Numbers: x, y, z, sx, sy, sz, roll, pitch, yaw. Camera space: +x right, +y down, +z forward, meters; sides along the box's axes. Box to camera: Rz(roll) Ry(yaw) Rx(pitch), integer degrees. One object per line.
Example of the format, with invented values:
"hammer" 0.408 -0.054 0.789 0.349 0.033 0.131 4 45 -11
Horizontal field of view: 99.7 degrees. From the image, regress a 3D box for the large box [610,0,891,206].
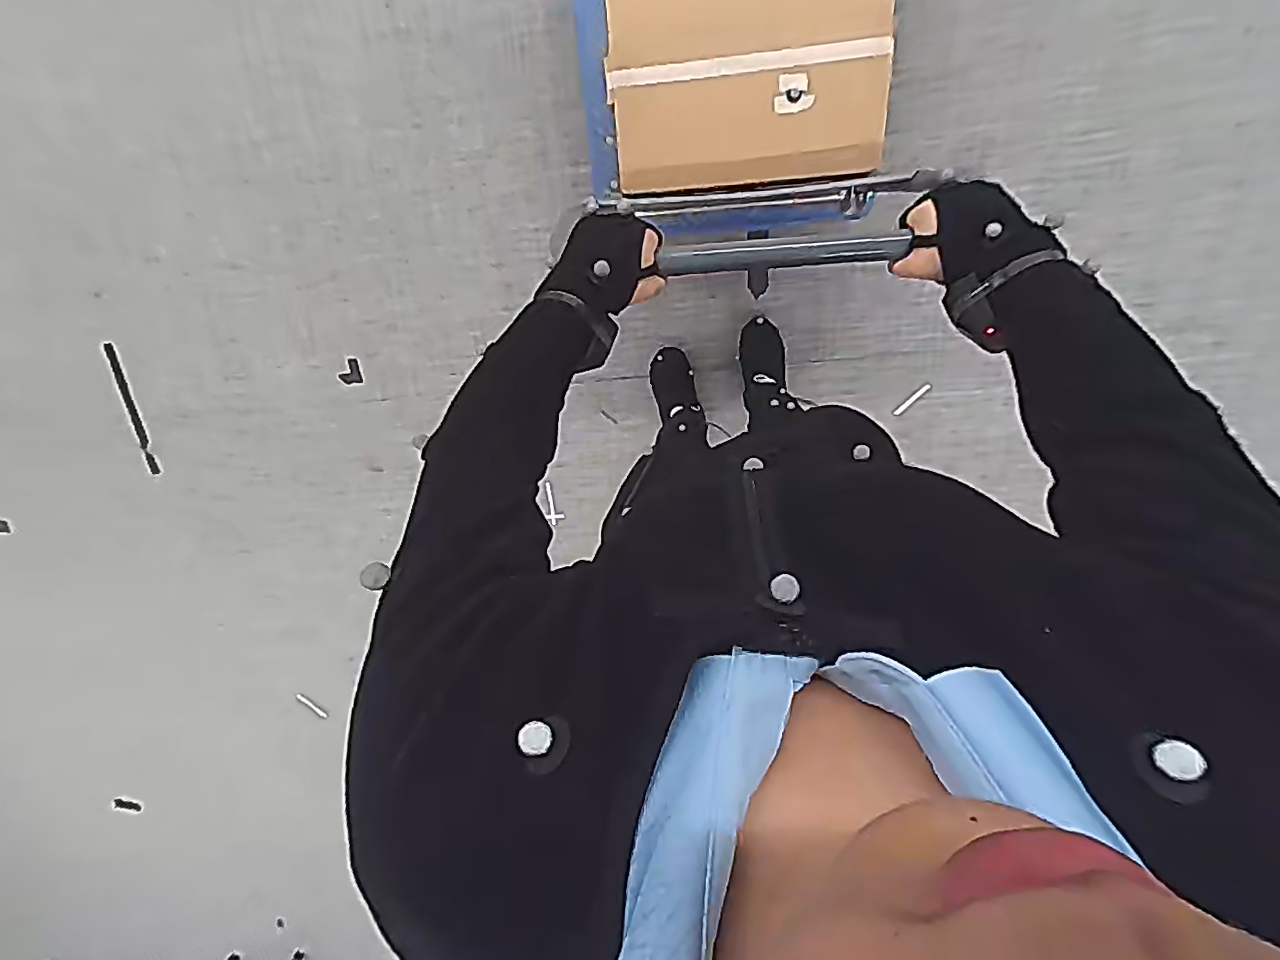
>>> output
"large box" 0.173 -0.678 0.944 0.408 0.320 0.320 -3 115 5
